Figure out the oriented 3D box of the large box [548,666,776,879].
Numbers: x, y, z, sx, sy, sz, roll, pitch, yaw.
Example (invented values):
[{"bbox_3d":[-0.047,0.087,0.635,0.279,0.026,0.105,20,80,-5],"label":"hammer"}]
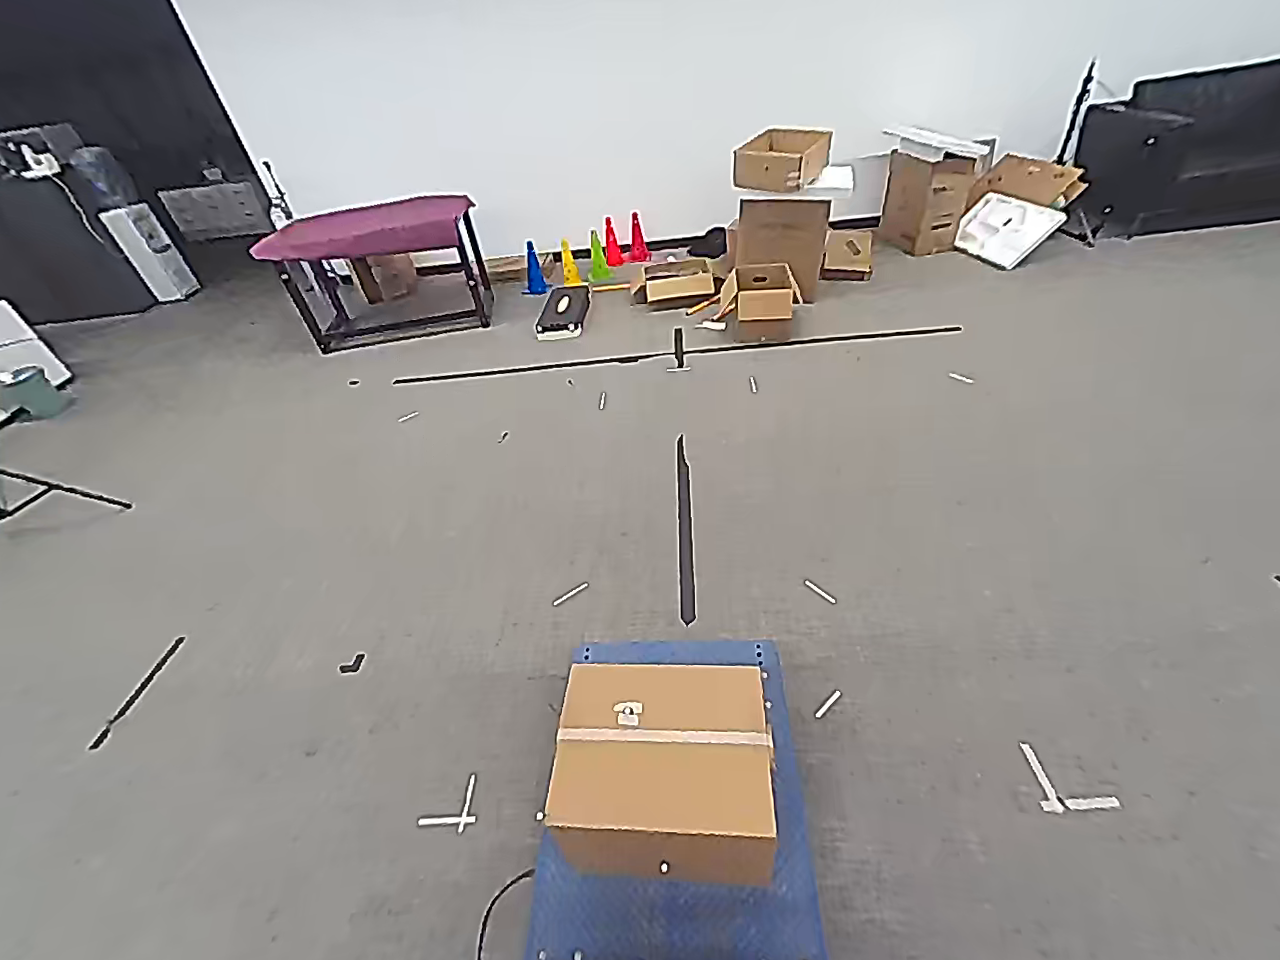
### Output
[{"bbox_3d":[0.060,0.616,1.142,0.408,0.320,0.320,-3,39,8],"label":"large box"}]
